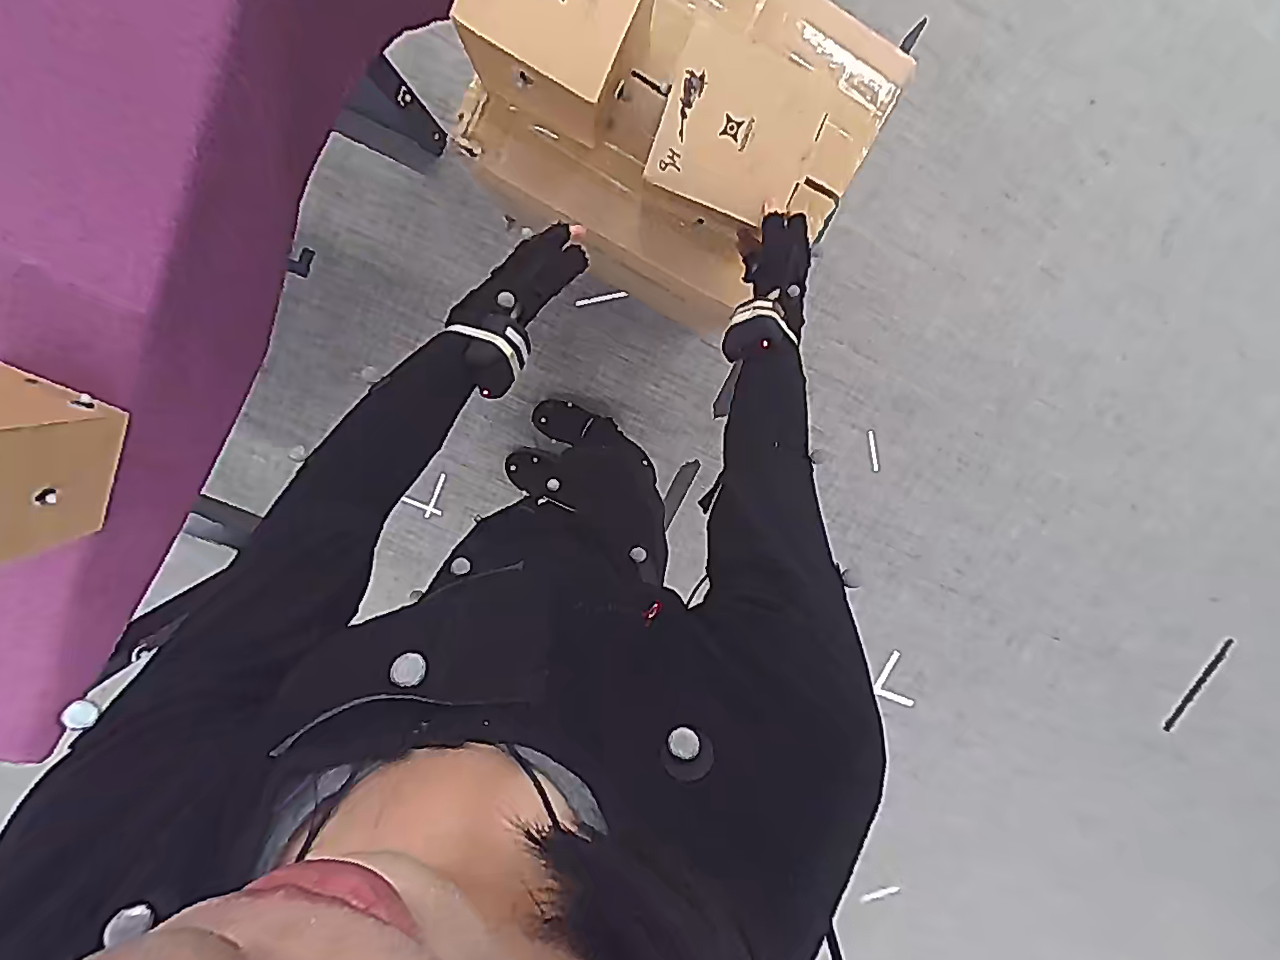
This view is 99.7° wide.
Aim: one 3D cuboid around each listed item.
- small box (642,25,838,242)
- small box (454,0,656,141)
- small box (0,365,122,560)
[{"bbox_3d":[0.111,-0.416,0.687,0.179,0.176,0.168,20,109,-7],"label":"small box"},{"bbox_3d":[-0.091,-0.548,0.651,0.179,0.176,0.168,24,103,-8],"label":"small box"},{"bbox_3d":[-0.766,-0.026,0.626,0.168,0.176,0.179,23,101,-7],"label":"small box"}]
